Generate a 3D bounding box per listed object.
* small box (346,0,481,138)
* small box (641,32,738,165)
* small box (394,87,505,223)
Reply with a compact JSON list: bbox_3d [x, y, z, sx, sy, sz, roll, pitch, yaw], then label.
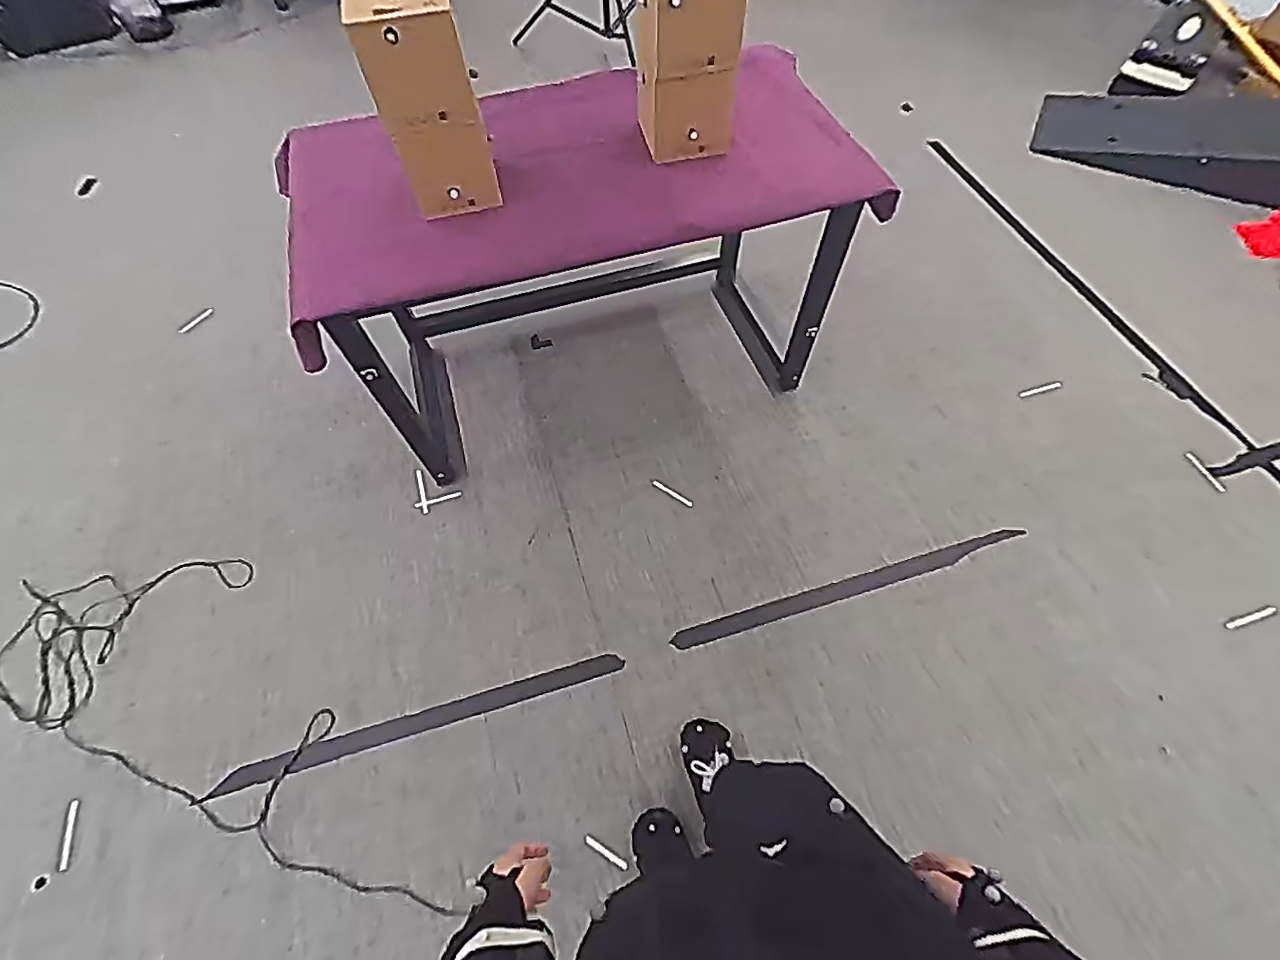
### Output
[{"bbox_3d":[-0.383,-0.727,0.932,0.168,0.176,0.179,-14,61,-6],"label":"small box"},{"bbox_3d":[0.097,-0.808,1.151,0.168,0.176,0.179,-11,62,-4],"label":"small box"},{"bbox_3d":[-0.379,-0.649,1.076,0.168,0.176,0.179,-15,63,-6],"label":"small box"}]
